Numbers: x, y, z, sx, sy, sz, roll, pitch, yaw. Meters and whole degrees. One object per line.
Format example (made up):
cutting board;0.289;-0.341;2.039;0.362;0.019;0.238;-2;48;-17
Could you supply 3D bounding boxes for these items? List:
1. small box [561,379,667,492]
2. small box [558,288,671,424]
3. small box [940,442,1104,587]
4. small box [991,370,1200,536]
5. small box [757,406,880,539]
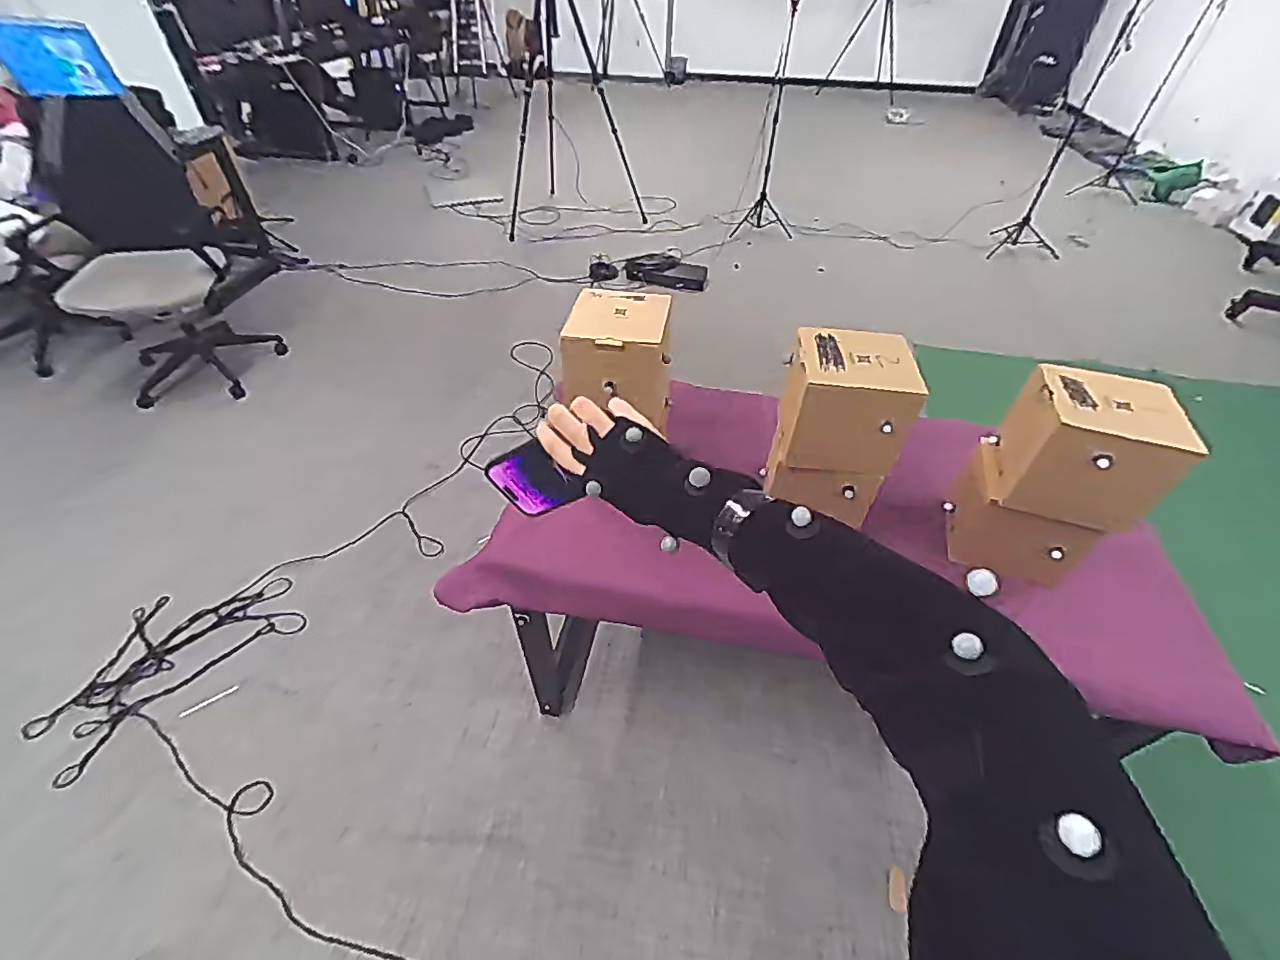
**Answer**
small box;-0.046;-0.100;1.087;0.168;0.176;0.179;12;46;9
small box;-0.040;-0.221;0.976;0.168;0.176;0.179;8;46;5
small box;0.654;0.064;0.949;0.179;0.176;0.168;16;46;14
small box;0.663;-0.039;0.821;0.179;0.176;0.168;16;46;13
small box;0.328;-0.012;1.010;0.179;0.176;0.168;11;46;9
